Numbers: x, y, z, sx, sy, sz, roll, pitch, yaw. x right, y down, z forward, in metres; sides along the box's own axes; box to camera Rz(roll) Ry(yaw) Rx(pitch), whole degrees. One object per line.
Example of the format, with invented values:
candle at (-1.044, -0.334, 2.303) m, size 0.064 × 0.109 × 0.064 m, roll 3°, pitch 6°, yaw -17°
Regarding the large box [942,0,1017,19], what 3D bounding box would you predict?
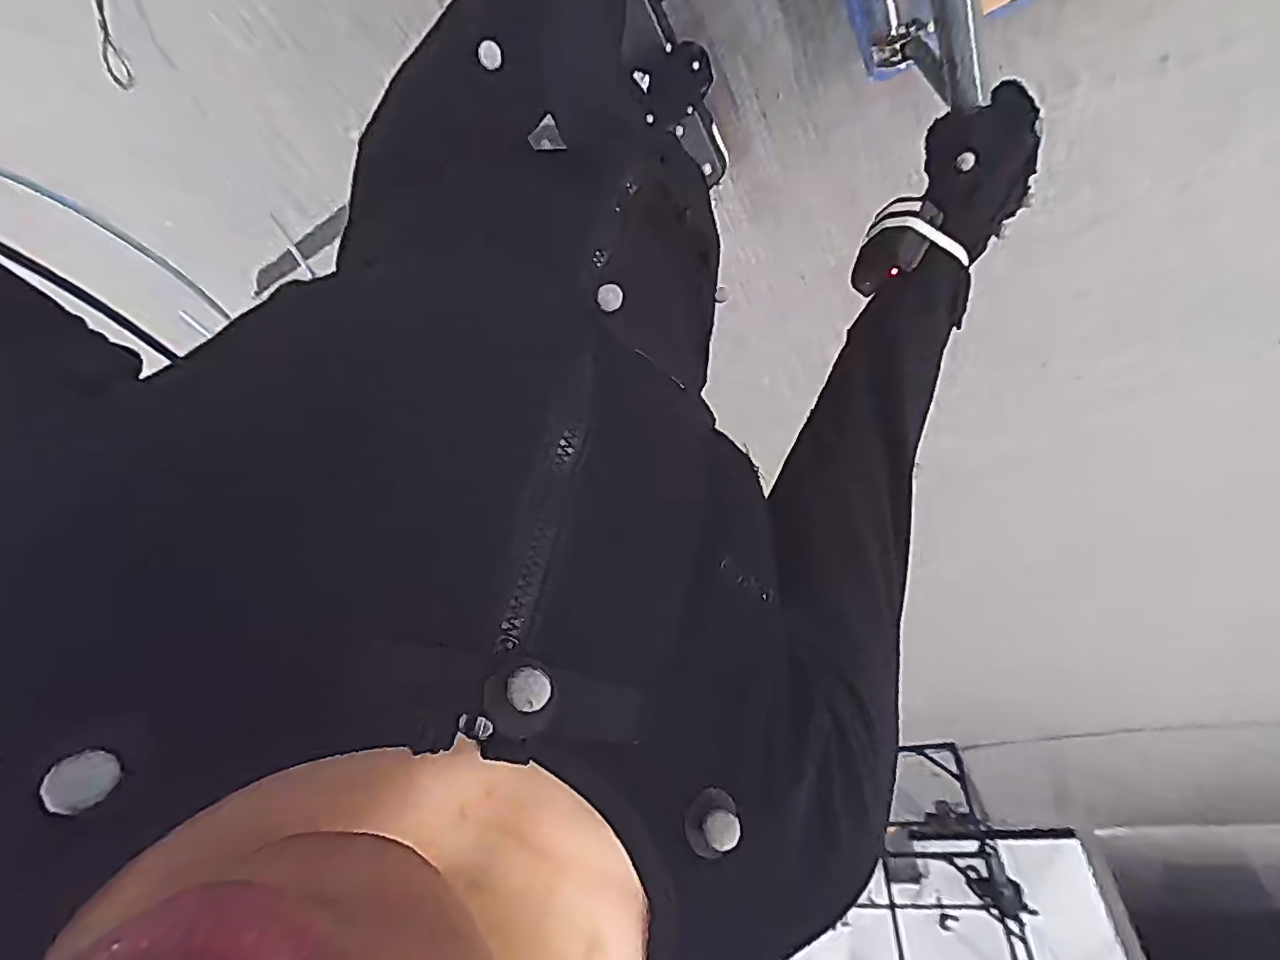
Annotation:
large box at (0.463, -0.852, 0.596) m, size 0.320 × 0.320 × 0.408 m, roll -18°, pitch 133°, yaw 26°
